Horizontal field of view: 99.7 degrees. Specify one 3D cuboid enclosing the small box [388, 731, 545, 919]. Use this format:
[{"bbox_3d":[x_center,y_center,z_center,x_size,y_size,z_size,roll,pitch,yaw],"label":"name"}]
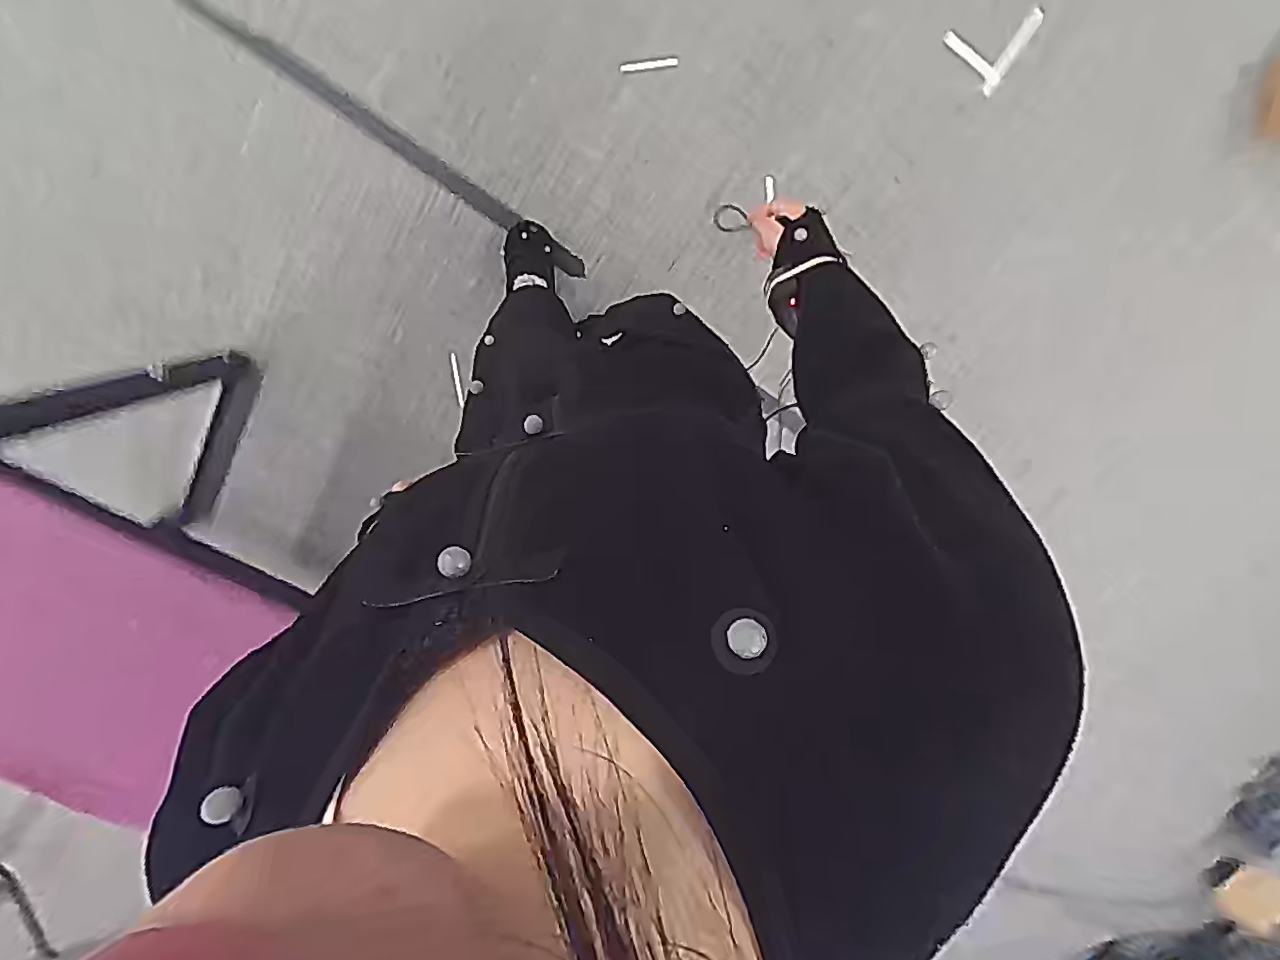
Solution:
[{"bbox_3d":[-0.274,0.564,0.896,0.168,0.176,0.179,33,107,-13],"label":"small box"}]
